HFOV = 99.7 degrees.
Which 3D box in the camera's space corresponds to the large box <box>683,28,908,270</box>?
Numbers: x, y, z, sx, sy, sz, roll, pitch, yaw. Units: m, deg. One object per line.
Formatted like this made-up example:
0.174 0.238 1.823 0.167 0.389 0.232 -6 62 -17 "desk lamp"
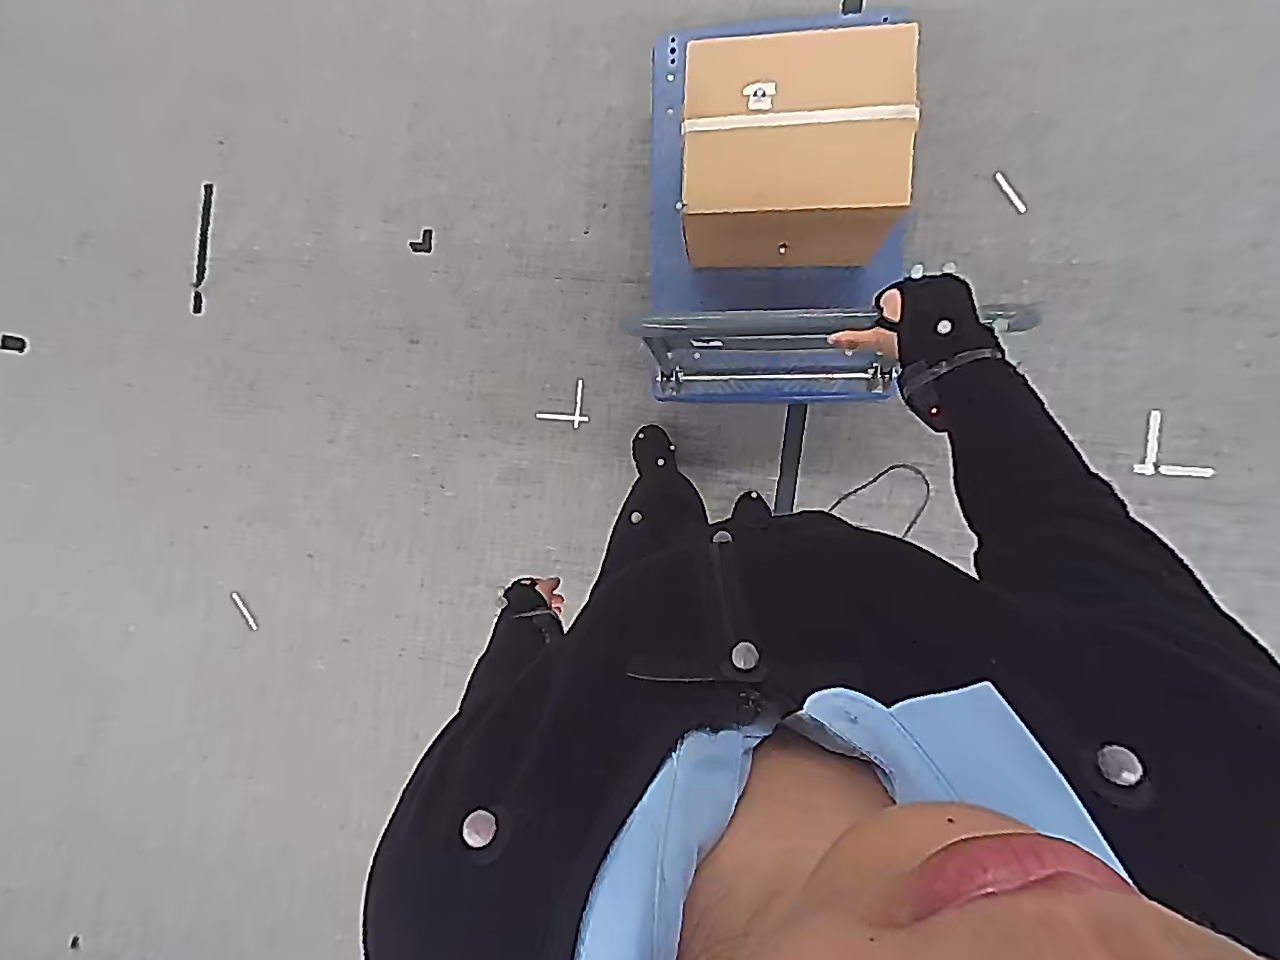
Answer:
0.305 -0.653 1.137 0.408 0.320 0.320 1 92 9 "large box"
